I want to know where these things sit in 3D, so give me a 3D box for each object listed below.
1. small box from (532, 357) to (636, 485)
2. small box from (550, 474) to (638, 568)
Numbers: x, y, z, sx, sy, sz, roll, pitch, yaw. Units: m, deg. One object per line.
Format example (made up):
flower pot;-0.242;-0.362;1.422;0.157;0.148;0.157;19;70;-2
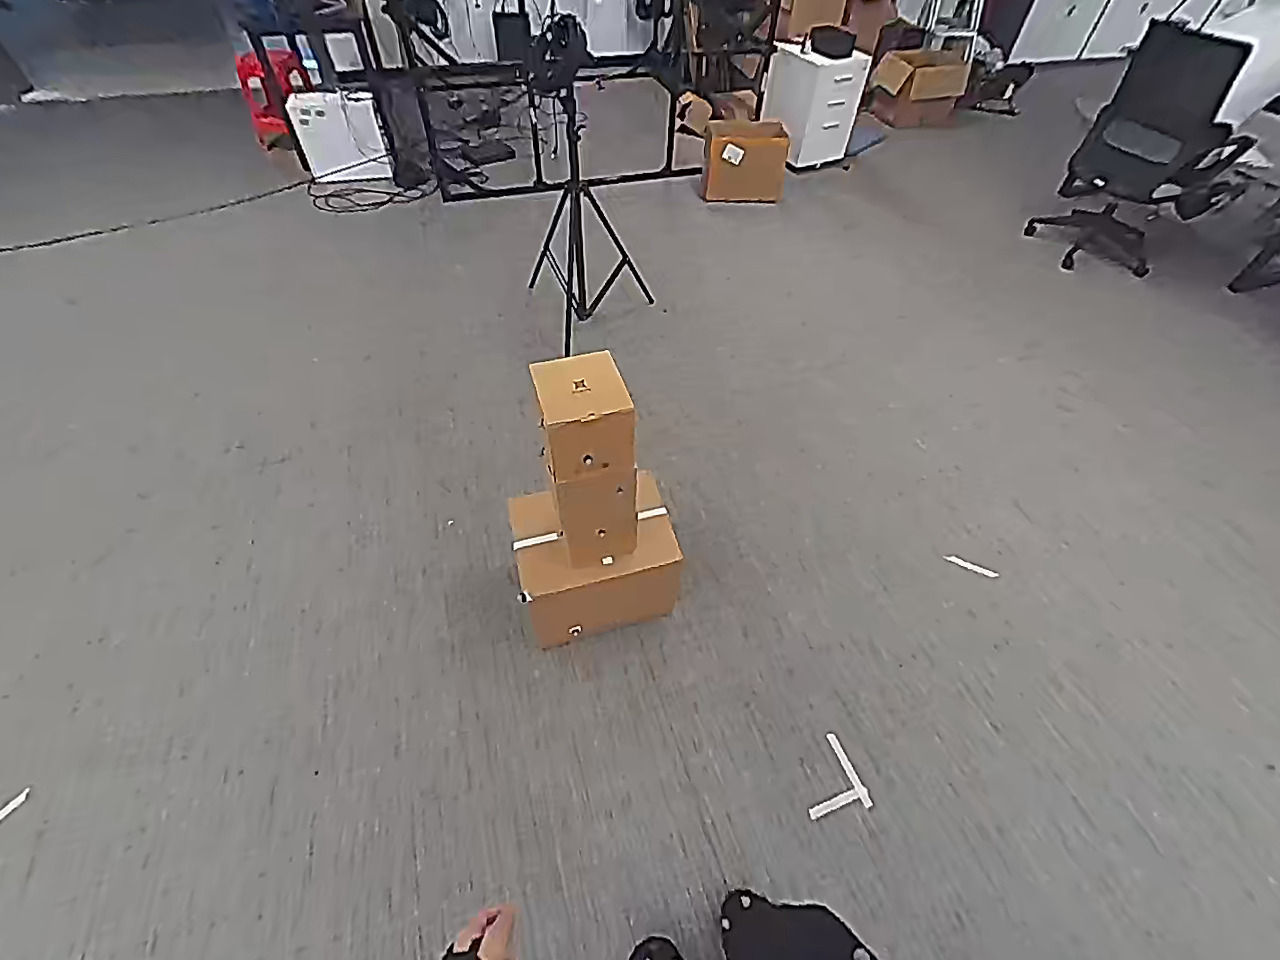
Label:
small box;-0.113;-0.117;1.083;0.168;0.176;0.179;-14;54;-13
small box;-0.112;0.094;1.333;0.179;0.176;0.168;-14;54;-14
